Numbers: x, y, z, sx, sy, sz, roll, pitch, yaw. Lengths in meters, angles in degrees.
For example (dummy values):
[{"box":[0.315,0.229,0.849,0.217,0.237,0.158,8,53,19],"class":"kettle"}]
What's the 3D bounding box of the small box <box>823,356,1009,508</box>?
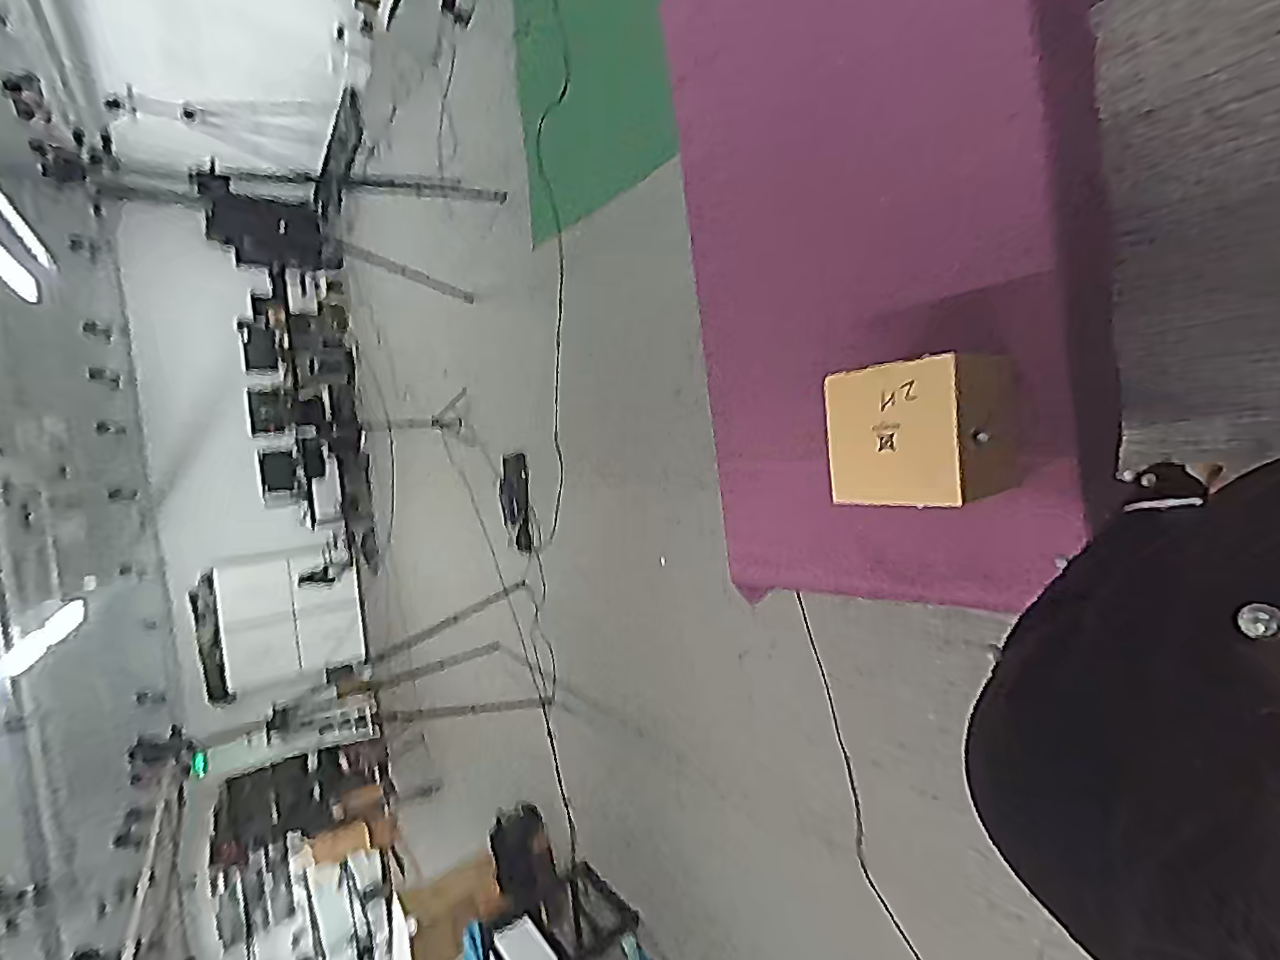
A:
[{"box":[0.368,-0.063,0.719,0.168,0.176,0.179,-1,95,53],"class":"small box"}]
